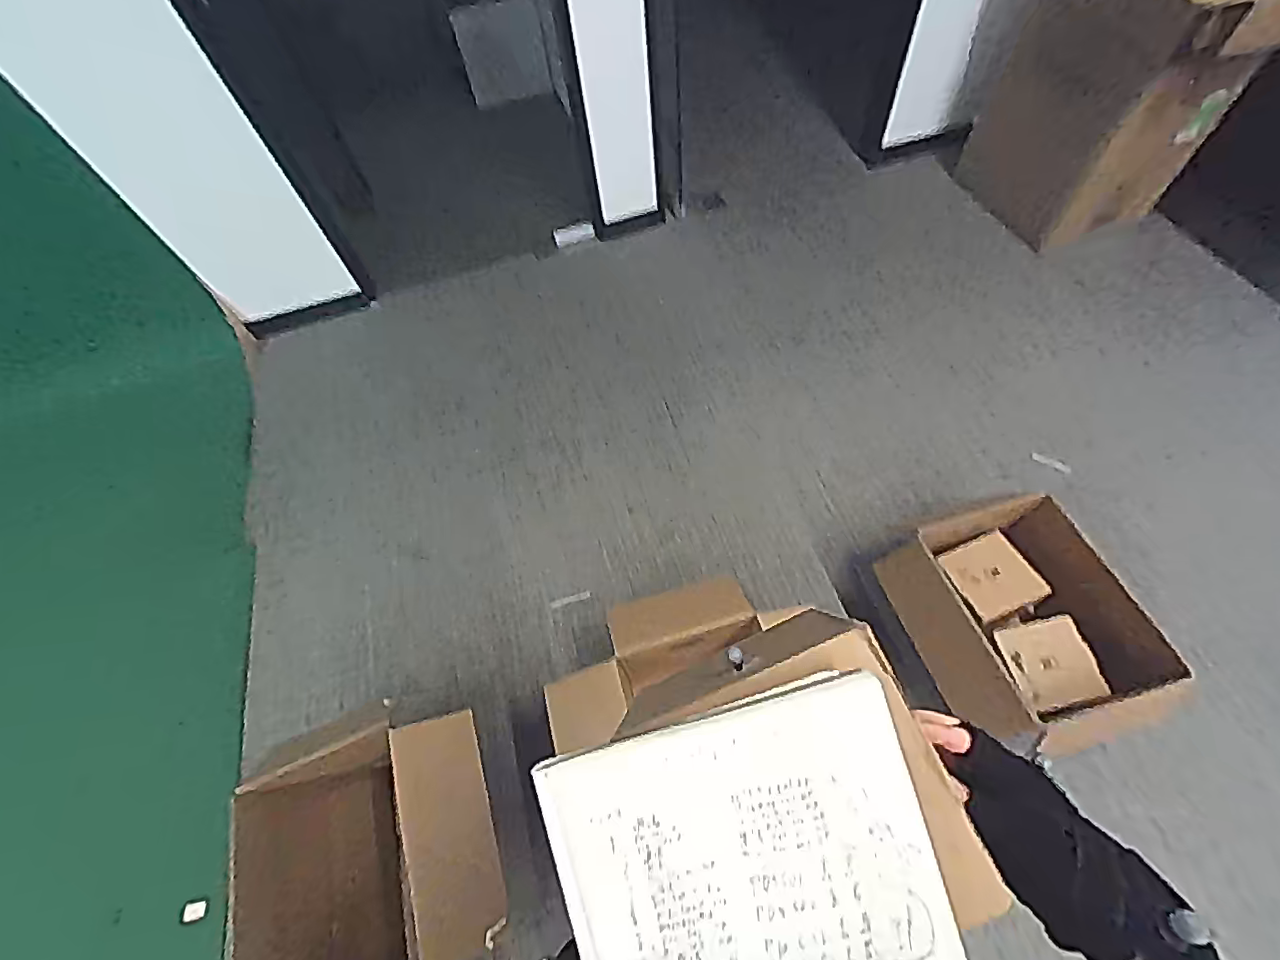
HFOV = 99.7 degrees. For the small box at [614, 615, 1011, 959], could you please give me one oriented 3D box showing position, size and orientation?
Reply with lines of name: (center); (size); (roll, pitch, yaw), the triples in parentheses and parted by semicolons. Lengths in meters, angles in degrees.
small box: (0.099, 0.206, 0.385); (0.179, 0.176, 0.168); (-24, 78, 2)
